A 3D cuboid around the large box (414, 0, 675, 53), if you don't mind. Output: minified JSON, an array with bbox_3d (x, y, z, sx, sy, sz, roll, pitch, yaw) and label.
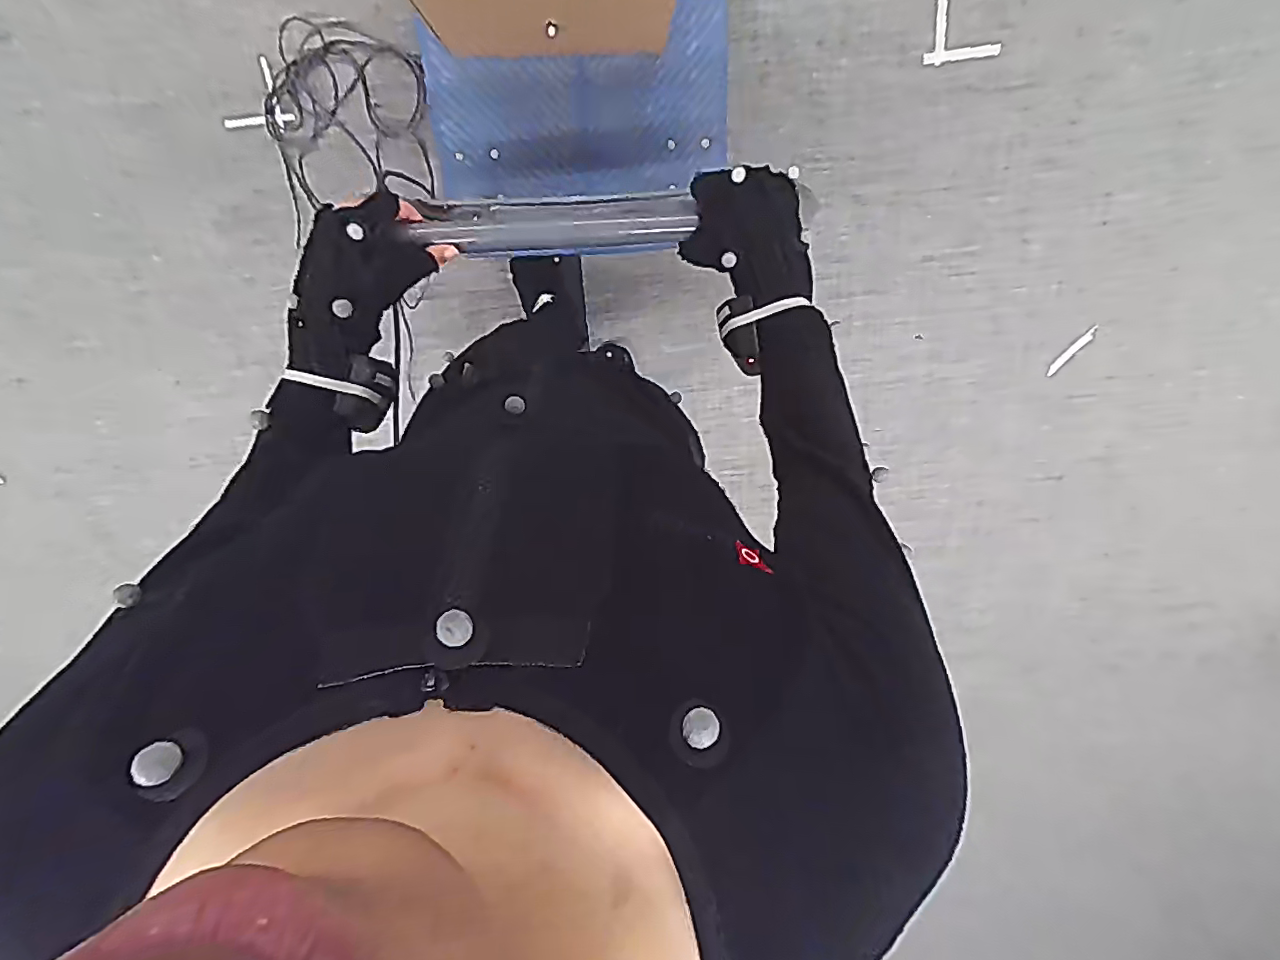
[{"bbox_3d":[-0.151,-0.898,0.830,0.408,0.320,0.320,-3,111,-1],"label":"large box"}]
